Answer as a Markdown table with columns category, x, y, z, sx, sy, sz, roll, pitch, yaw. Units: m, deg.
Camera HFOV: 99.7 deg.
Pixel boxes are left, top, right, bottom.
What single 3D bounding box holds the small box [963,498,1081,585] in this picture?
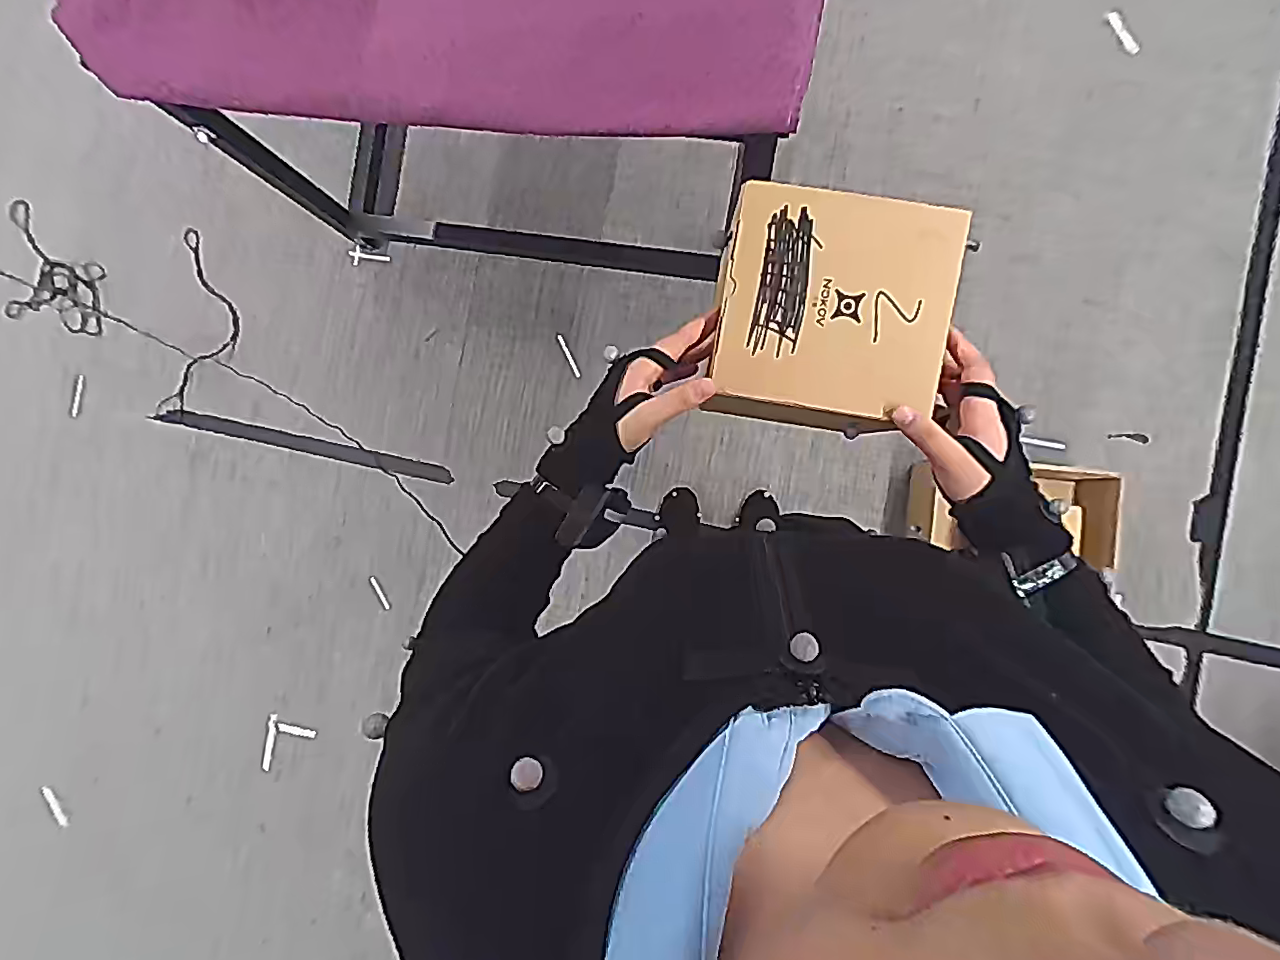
| category | x | y | z | sx | sy | sz | roll | pitch | yaw |
| --- | --- | --- | --- | --- | --- | --- | --- | --- | --- |
| small box | 0.897 | 0.140 | 1.286 | 0.168 | 0.176 | 0.179 | 4 | 90 | 6 |
